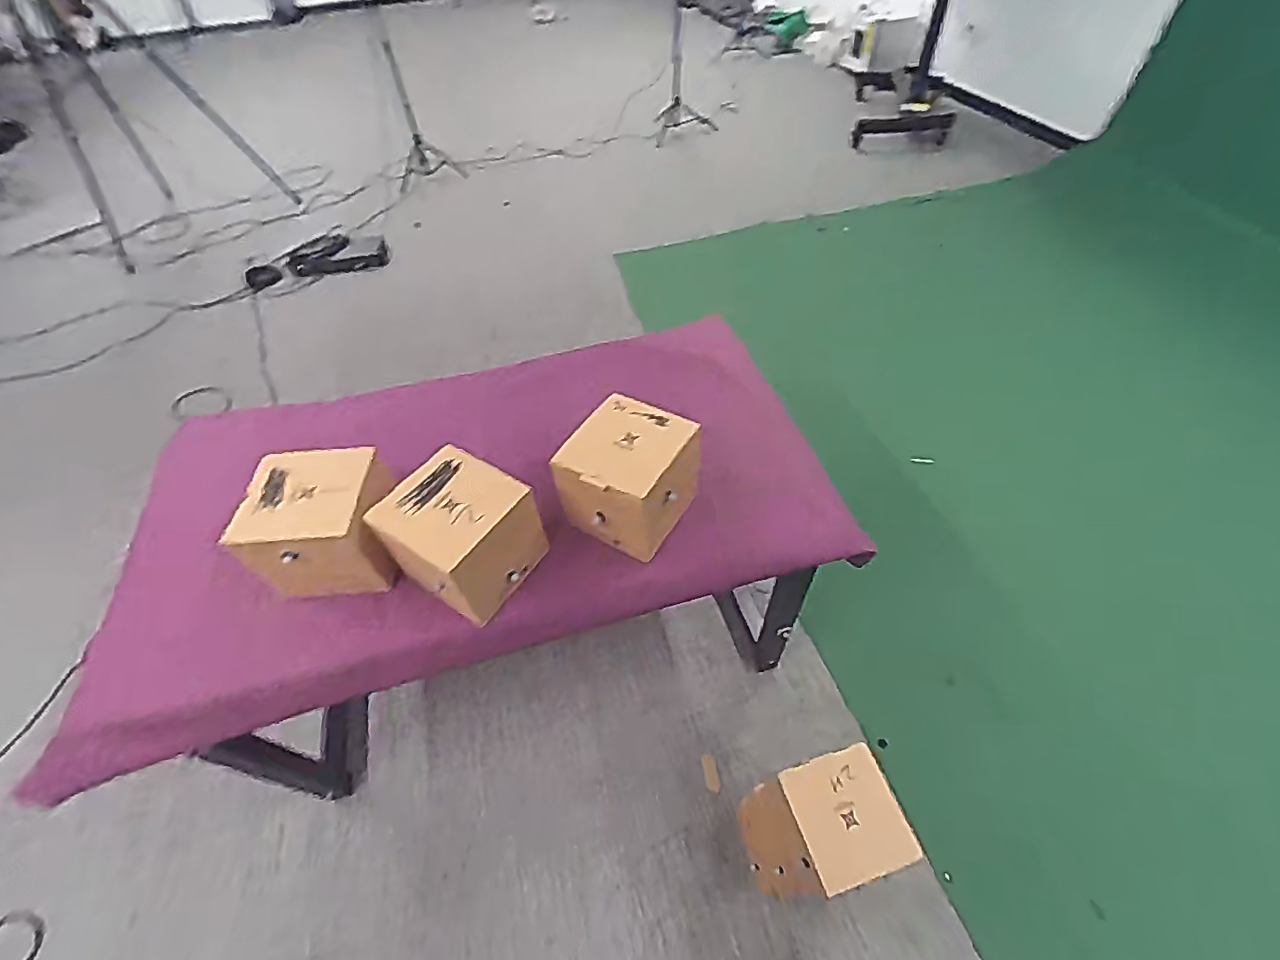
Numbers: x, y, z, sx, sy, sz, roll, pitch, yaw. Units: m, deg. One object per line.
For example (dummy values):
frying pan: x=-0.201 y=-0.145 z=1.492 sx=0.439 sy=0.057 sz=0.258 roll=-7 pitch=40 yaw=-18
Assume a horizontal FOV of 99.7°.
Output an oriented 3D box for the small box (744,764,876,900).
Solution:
small box: x=0.315 y=0.685 z=1.049 sx=0.168 sy=0.176 sz=0.179 roll=-15 pitch=53 yaw=-10

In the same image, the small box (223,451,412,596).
small box: x=-0.491 y=0.073 z=0.856 sx=0.179 sy=0.176 sz=0.168 roll=-3 pitch=51 yaw=-1

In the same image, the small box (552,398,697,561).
small box: x=-0.016 y=0.002 z=0.888 sx=0.168 sy=0.176 sz=0.179 roll=24 pitch=56 yaw=22

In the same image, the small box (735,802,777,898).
small box: x=0.315 y=0.786 z=1.176 sx=0.179 sy=0.176 sz=0.168 roll=-13 pitch=52 yaw=-8
